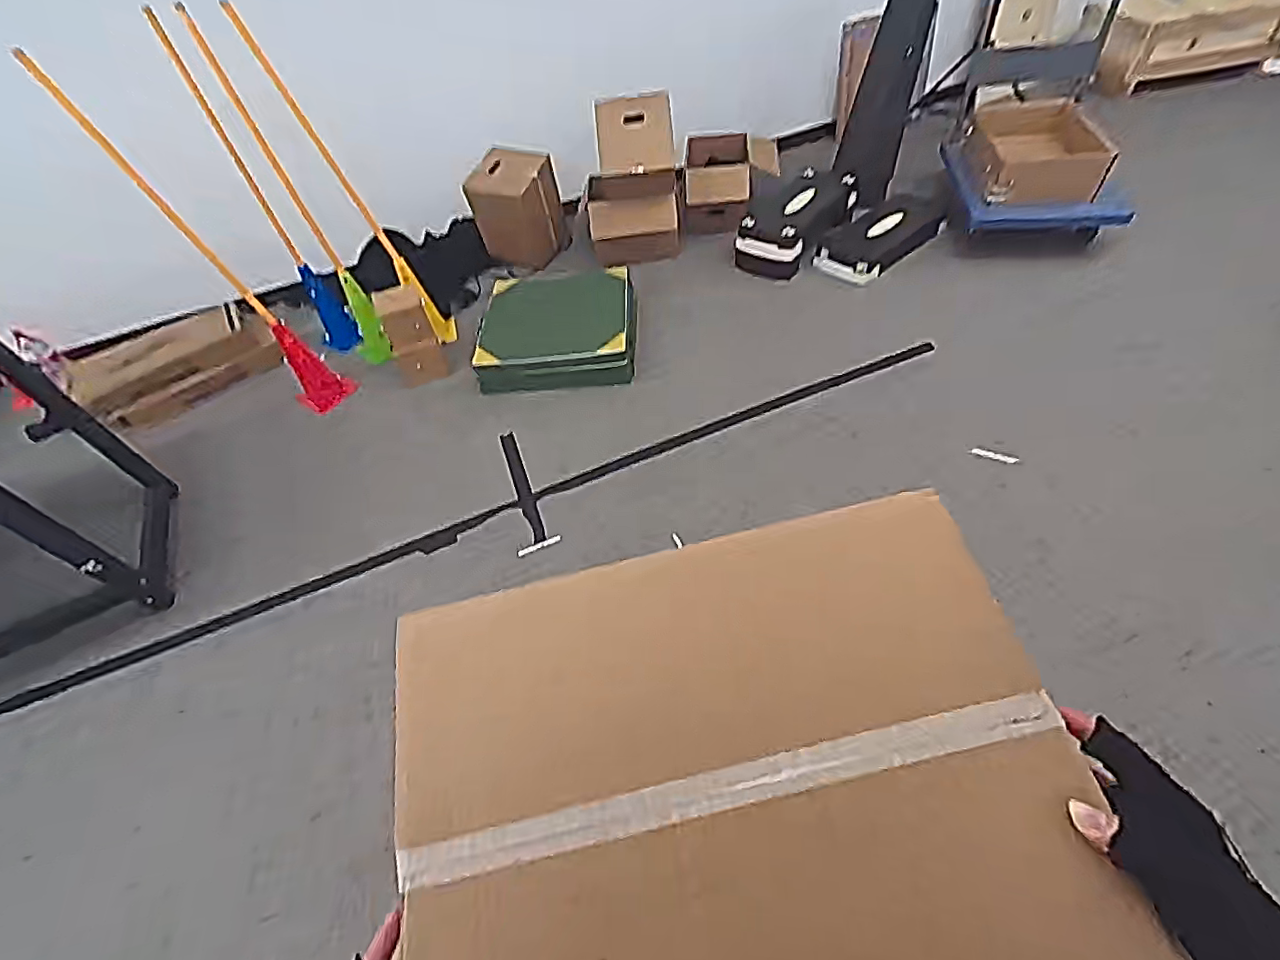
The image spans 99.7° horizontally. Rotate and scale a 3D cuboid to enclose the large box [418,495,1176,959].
[{"bbox_3d":[0.072,0.259,0.468,0.408,0.320,0.320,-14,63,0],"label":"large box"}]
